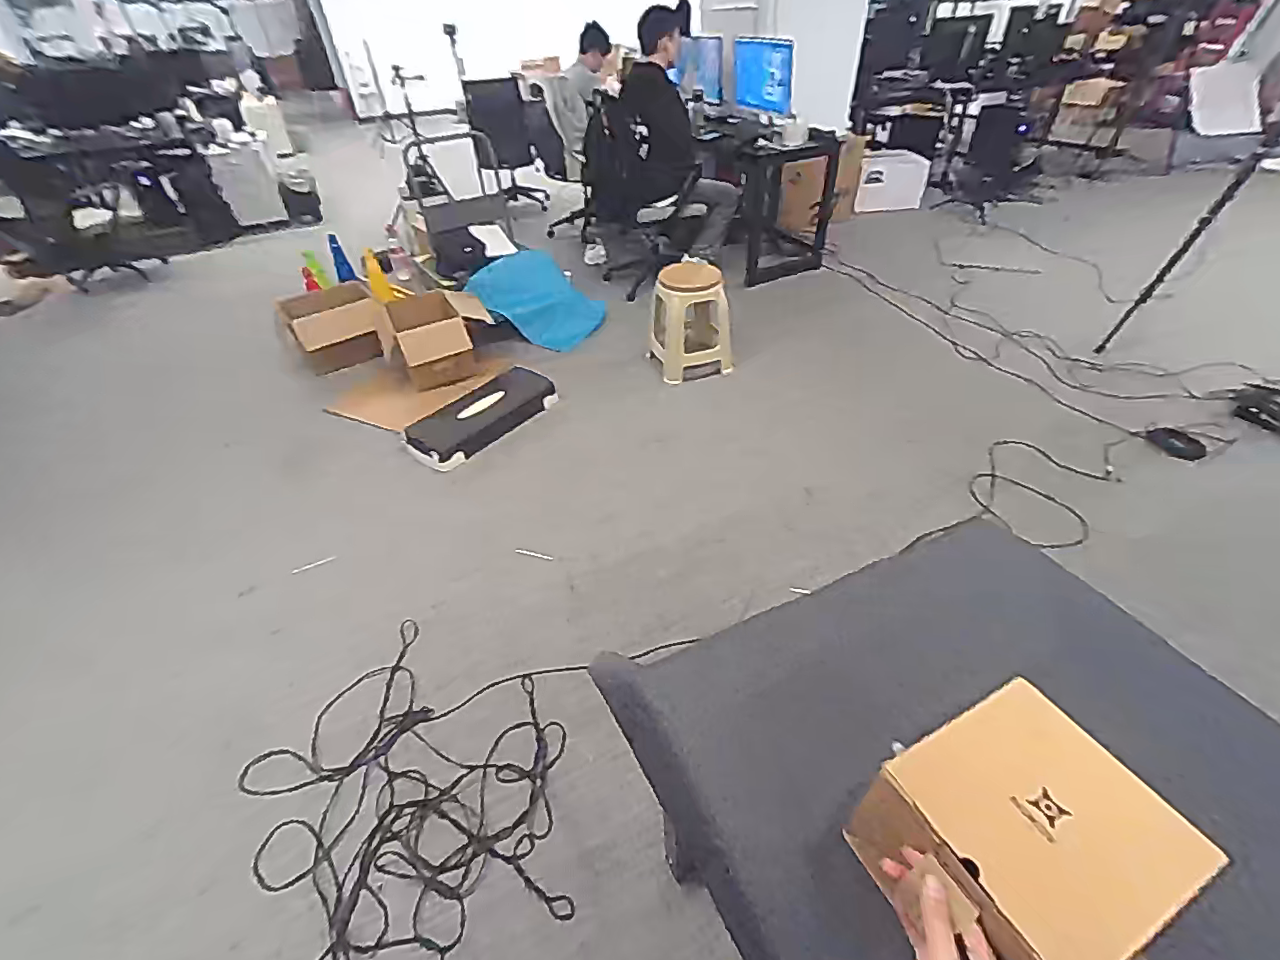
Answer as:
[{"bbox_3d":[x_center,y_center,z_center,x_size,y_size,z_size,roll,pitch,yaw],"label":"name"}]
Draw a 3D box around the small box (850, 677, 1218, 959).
[{"bbox_3d":[0.317,0.316,0.477,0.179,0.176,0.168,-21,45,-18],"label":"small box"}]
